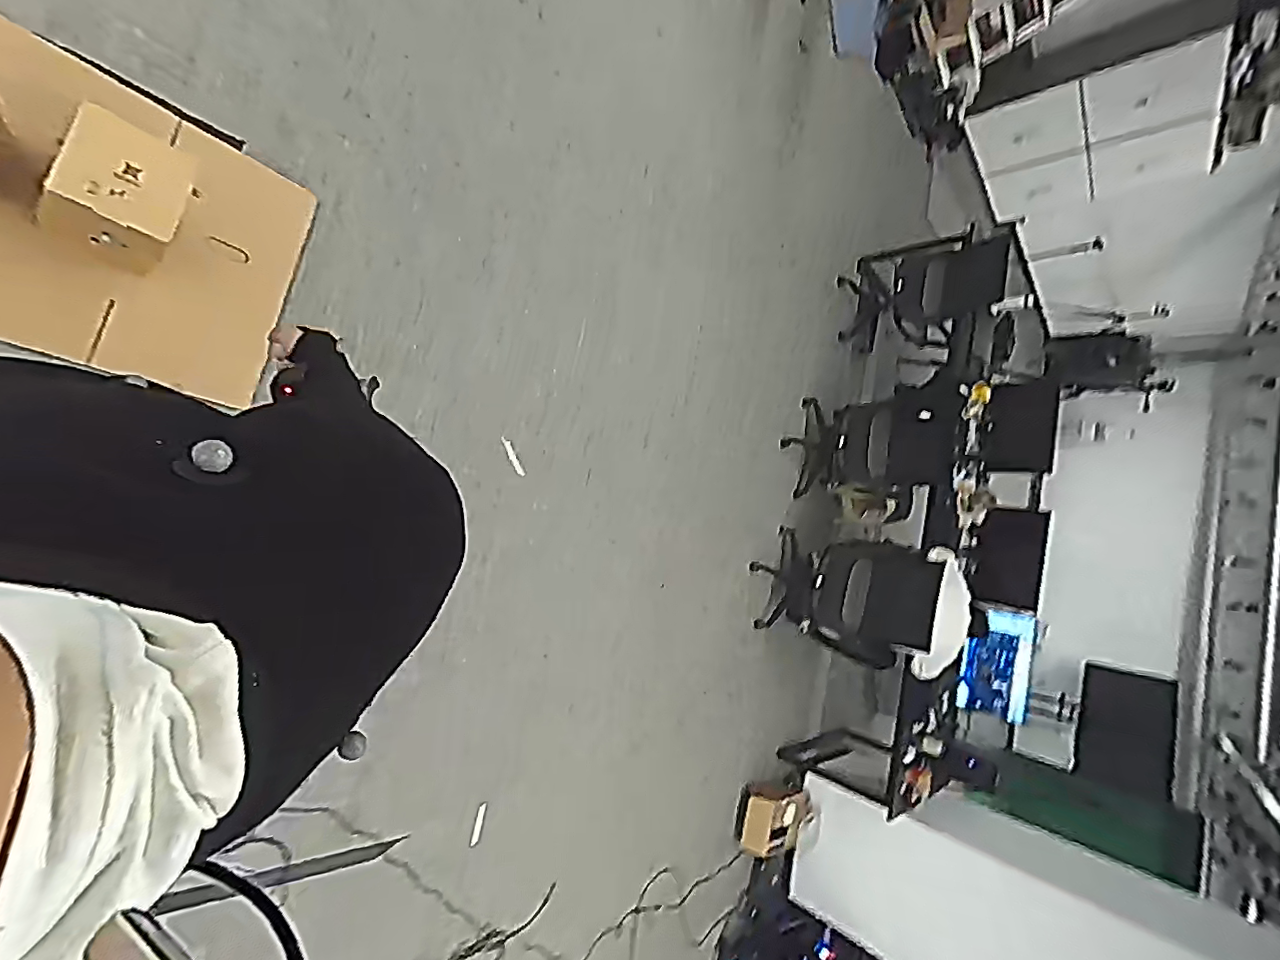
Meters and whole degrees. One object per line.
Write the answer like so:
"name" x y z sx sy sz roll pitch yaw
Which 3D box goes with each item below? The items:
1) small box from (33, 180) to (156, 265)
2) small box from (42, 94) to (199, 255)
"small box" -1.090 -0.565 1.113 0.179 0.176 0.168 22 78 -45
"small box" -0.964 -0.554 1.006 0.168 0.176 0.179 23 78 -45
